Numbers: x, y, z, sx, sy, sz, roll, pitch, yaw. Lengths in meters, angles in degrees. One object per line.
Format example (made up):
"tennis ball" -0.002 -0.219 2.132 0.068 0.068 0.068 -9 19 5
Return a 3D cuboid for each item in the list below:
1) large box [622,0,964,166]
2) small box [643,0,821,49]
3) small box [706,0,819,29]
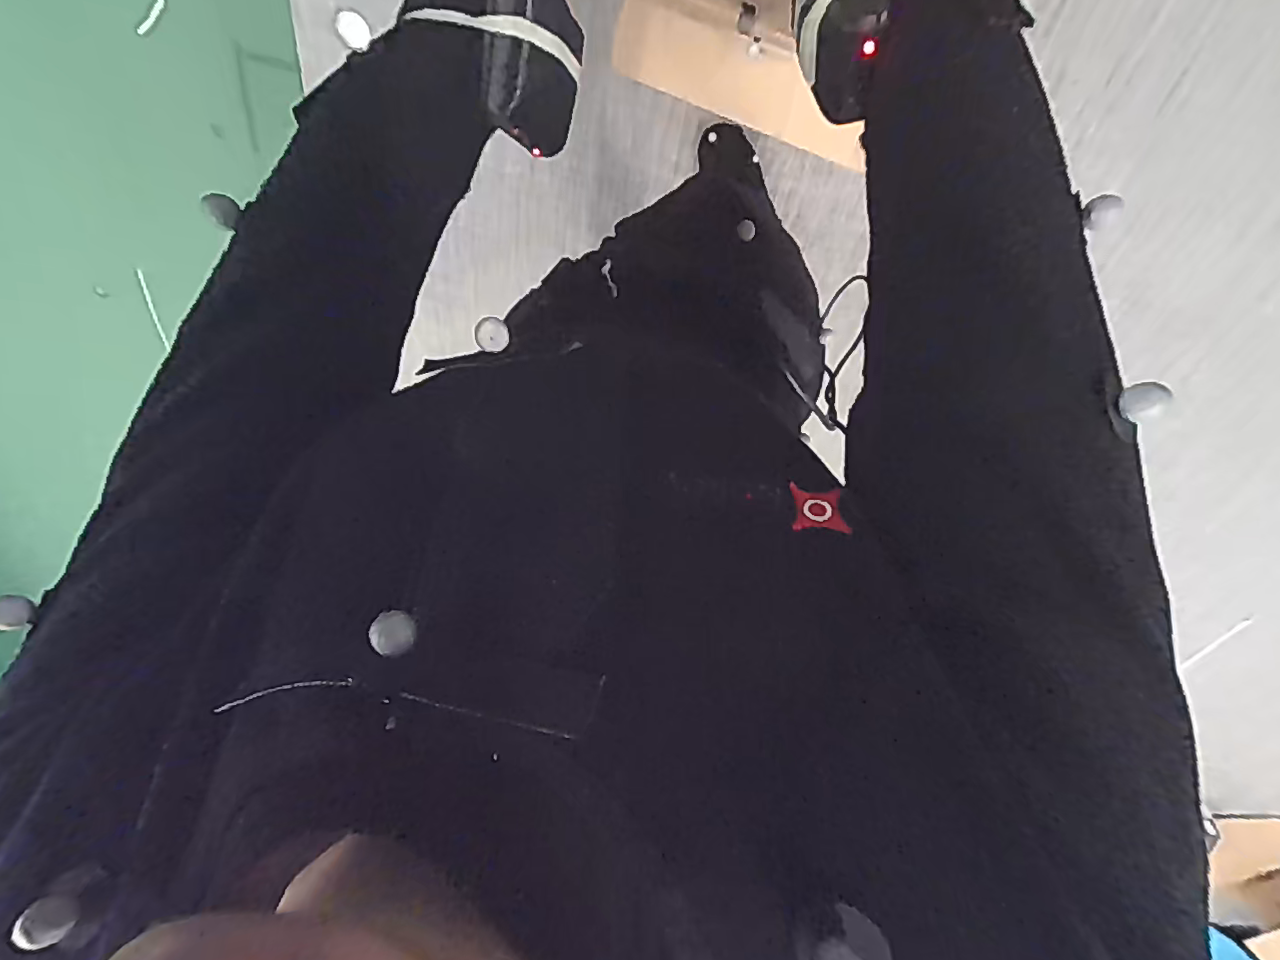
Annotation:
"large box" 0.228 -0.711 0.791 0.408 0.320 0.320 21 130 0
"small box" 0.094 -0.501 0.470 0.179 0.176 0.168 20 128 3
"small box" 0.062 -0.414 0.338 0.179 0.176 0.168 21 128 -1
